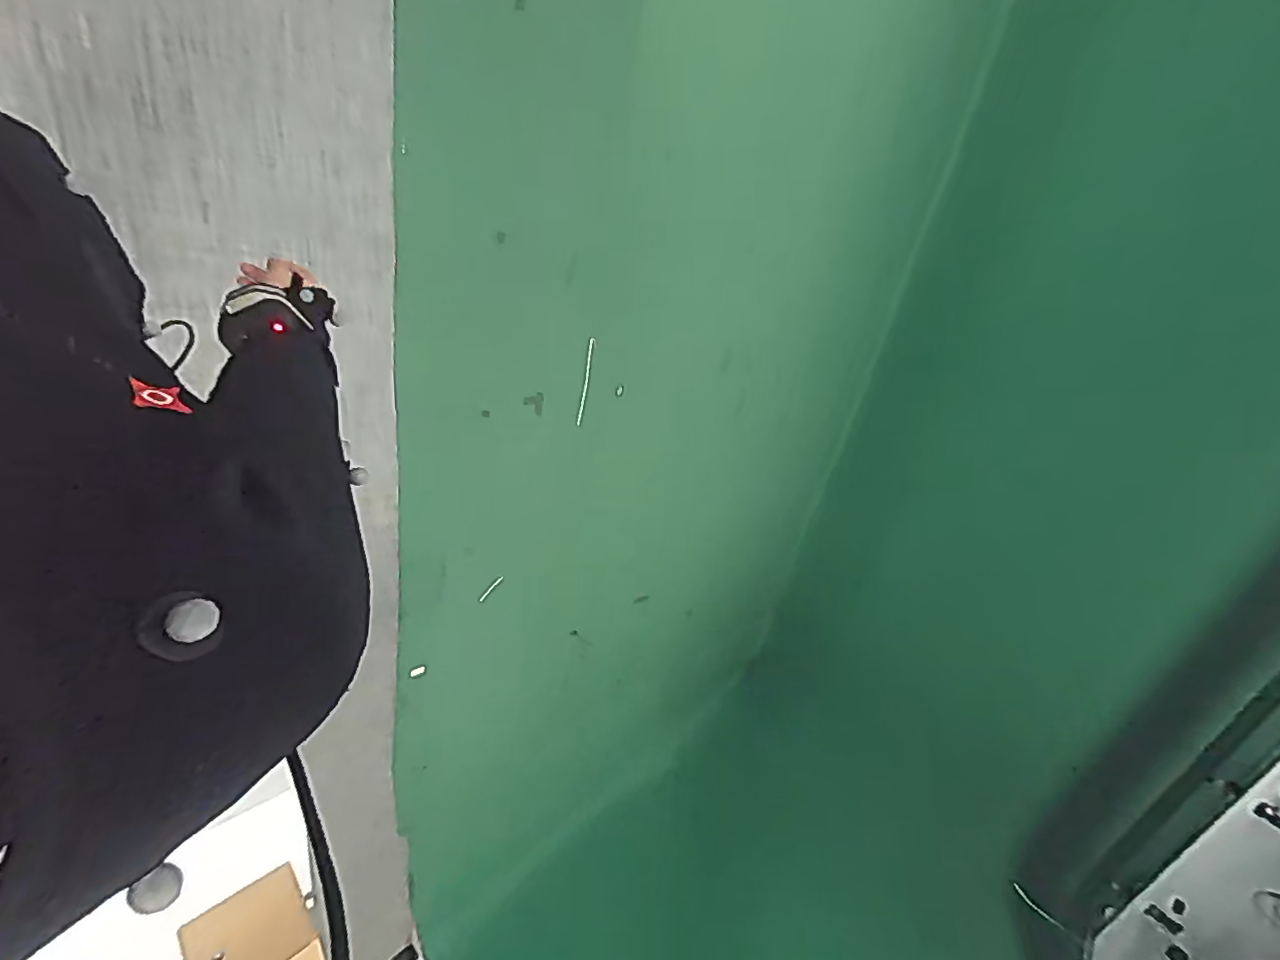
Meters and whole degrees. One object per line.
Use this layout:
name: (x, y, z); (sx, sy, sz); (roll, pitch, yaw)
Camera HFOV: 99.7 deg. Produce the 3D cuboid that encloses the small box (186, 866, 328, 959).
small box: (-0.684, 0.860, 0.973); (0.179, 0.176, 0.168); (-20, 130, -42)
